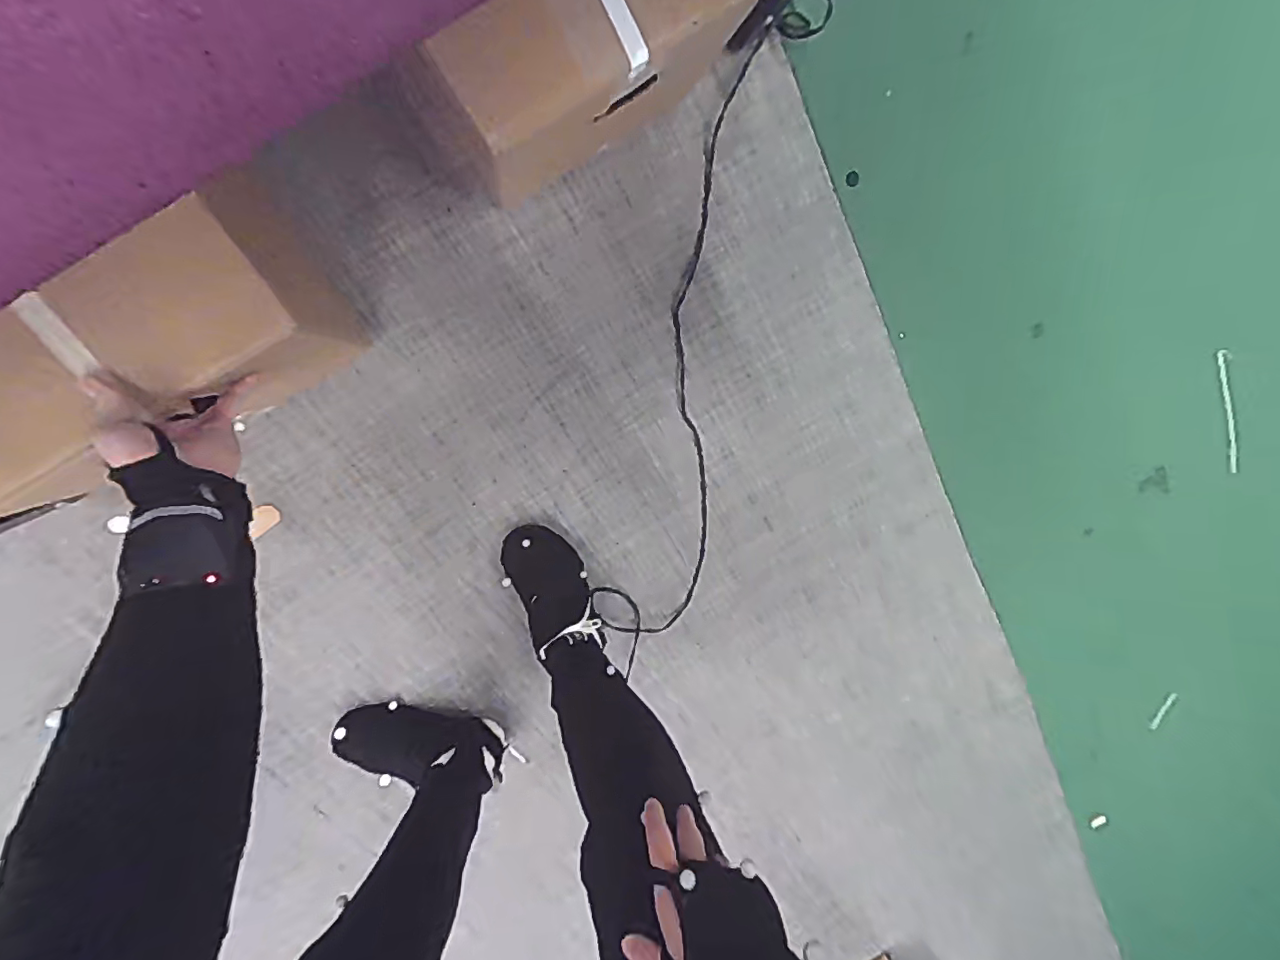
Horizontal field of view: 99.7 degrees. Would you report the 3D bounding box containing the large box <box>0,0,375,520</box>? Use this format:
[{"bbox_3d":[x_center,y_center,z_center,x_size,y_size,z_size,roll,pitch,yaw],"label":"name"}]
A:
[{"bbox_3d":[-0.565,-0.228,0.562,0.320,0.320,0.408,-35,105,-8],"label":"large box"}]
